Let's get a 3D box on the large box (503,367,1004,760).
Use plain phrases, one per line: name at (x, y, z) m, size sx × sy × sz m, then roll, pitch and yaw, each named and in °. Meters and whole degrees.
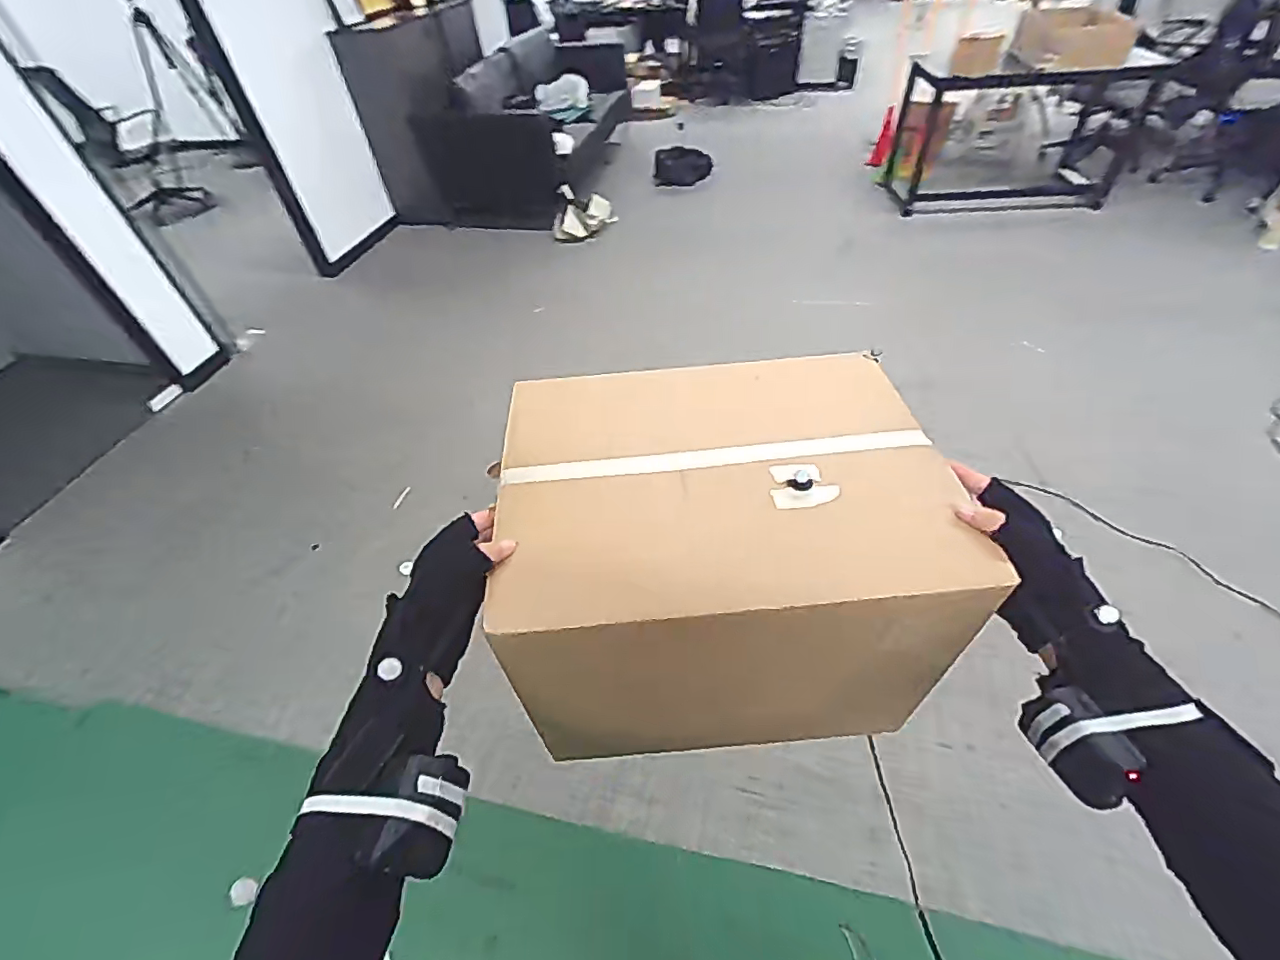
large box at (0.083, 0.097, 0.625) m, size 0.408 × 0.320 × 0.320 m, roll -4°, pitch 47°, yaw -1°
